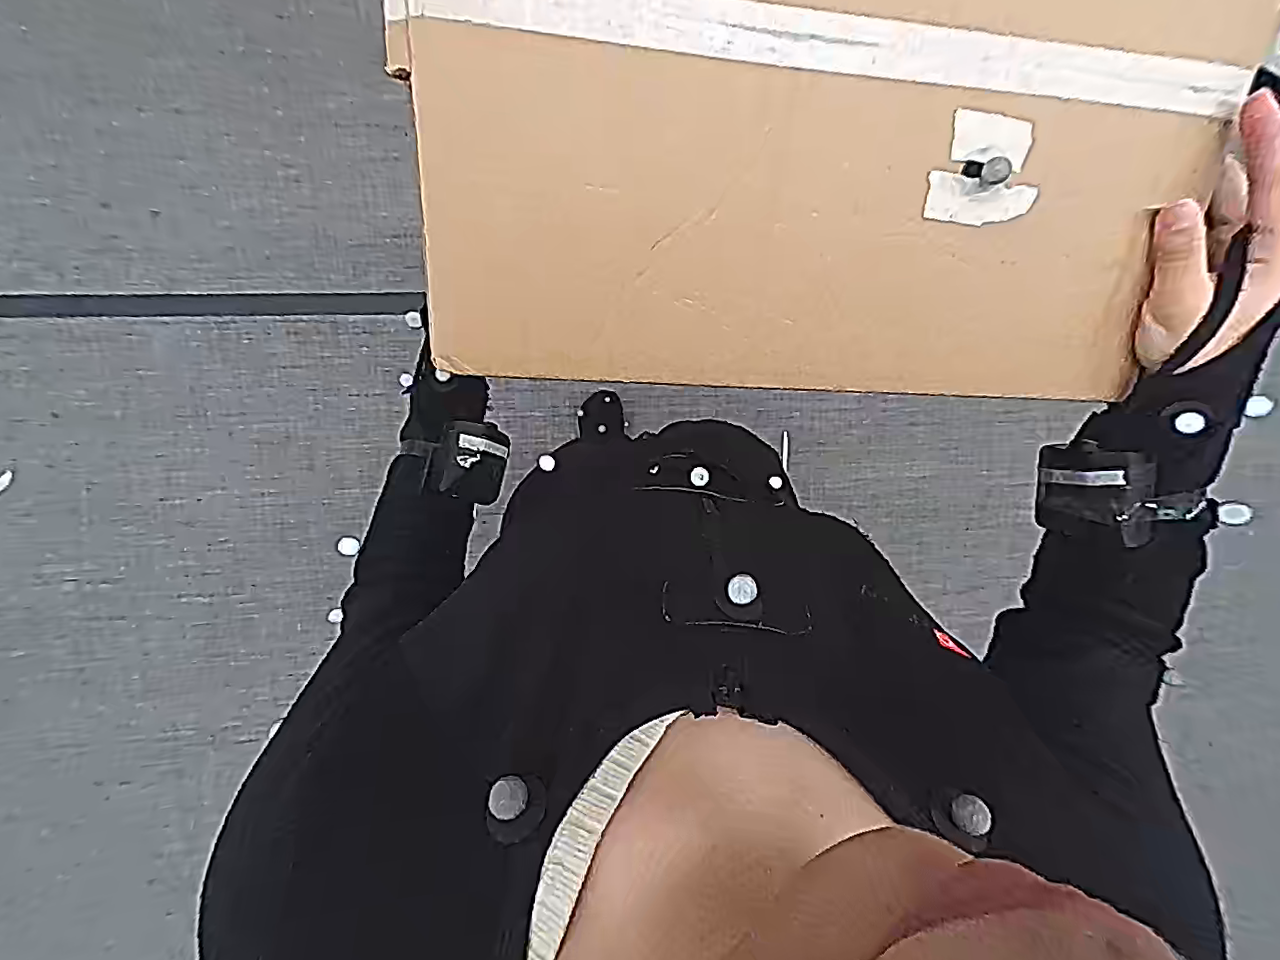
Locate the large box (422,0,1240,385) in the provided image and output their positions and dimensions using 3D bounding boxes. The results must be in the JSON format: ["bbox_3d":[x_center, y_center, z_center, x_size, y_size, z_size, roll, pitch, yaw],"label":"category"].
[{"bbox_3d":[0.078,-0.253,0.396,0.408,0.320,0.320,0,112,-9],"label":"large box"}]
